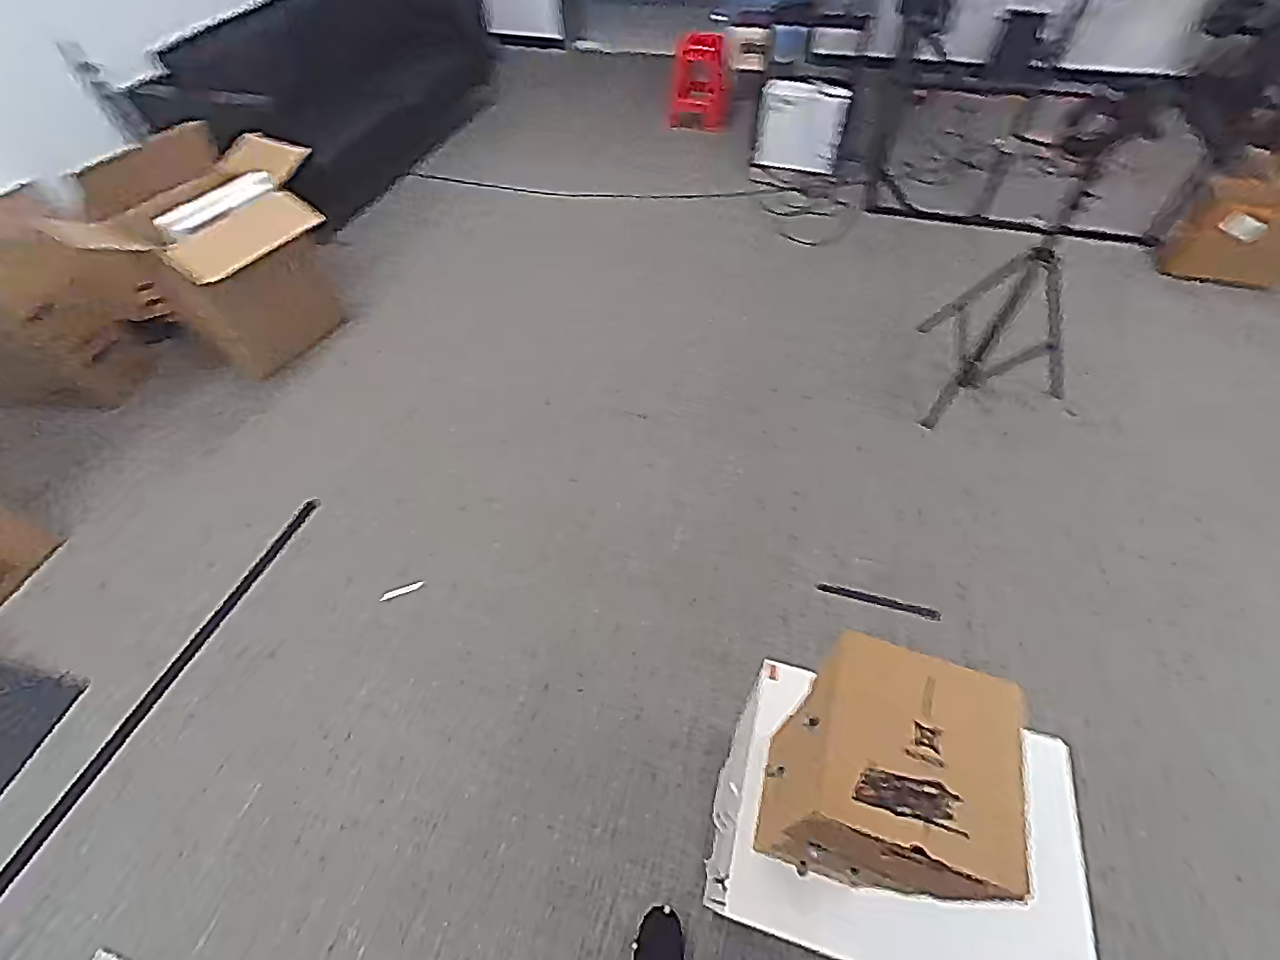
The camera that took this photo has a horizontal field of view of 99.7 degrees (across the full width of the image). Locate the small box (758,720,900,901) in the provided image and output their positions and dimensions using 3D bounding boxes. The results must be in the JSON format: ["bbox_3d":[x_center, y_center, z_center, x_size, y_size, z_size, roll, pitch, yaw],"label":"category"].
[{"bbox_3d":[0.278,0.490,0.803,0.168,0.176,0.179,14,54,12],"label":"small box"}]

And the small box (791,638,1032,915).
[{"bbox_3d":[0.257,0.294,0.540,0.168,0.176,0.179,16,54,14],"label":"small box"}]
